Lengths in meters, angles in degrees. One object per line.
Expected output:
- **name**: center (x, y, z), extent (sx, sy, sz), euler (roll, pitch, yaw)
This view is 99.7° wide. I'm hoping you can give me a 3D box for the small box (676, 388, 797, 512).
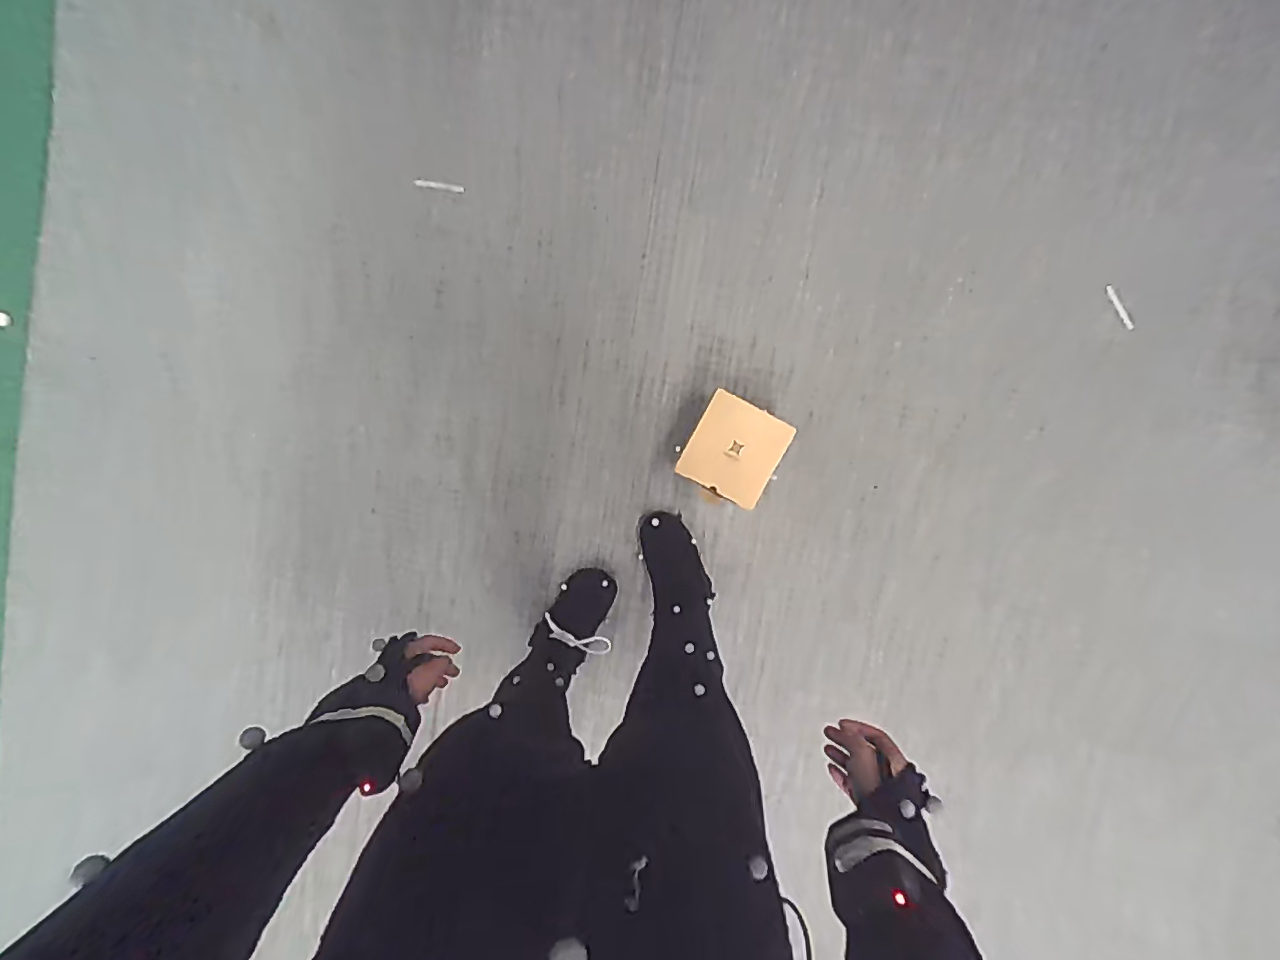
- **small box**: center (0.176, -0.060, 1.061), extent (0.168, 0.176, 0.179), euler (28, 95, 0)
